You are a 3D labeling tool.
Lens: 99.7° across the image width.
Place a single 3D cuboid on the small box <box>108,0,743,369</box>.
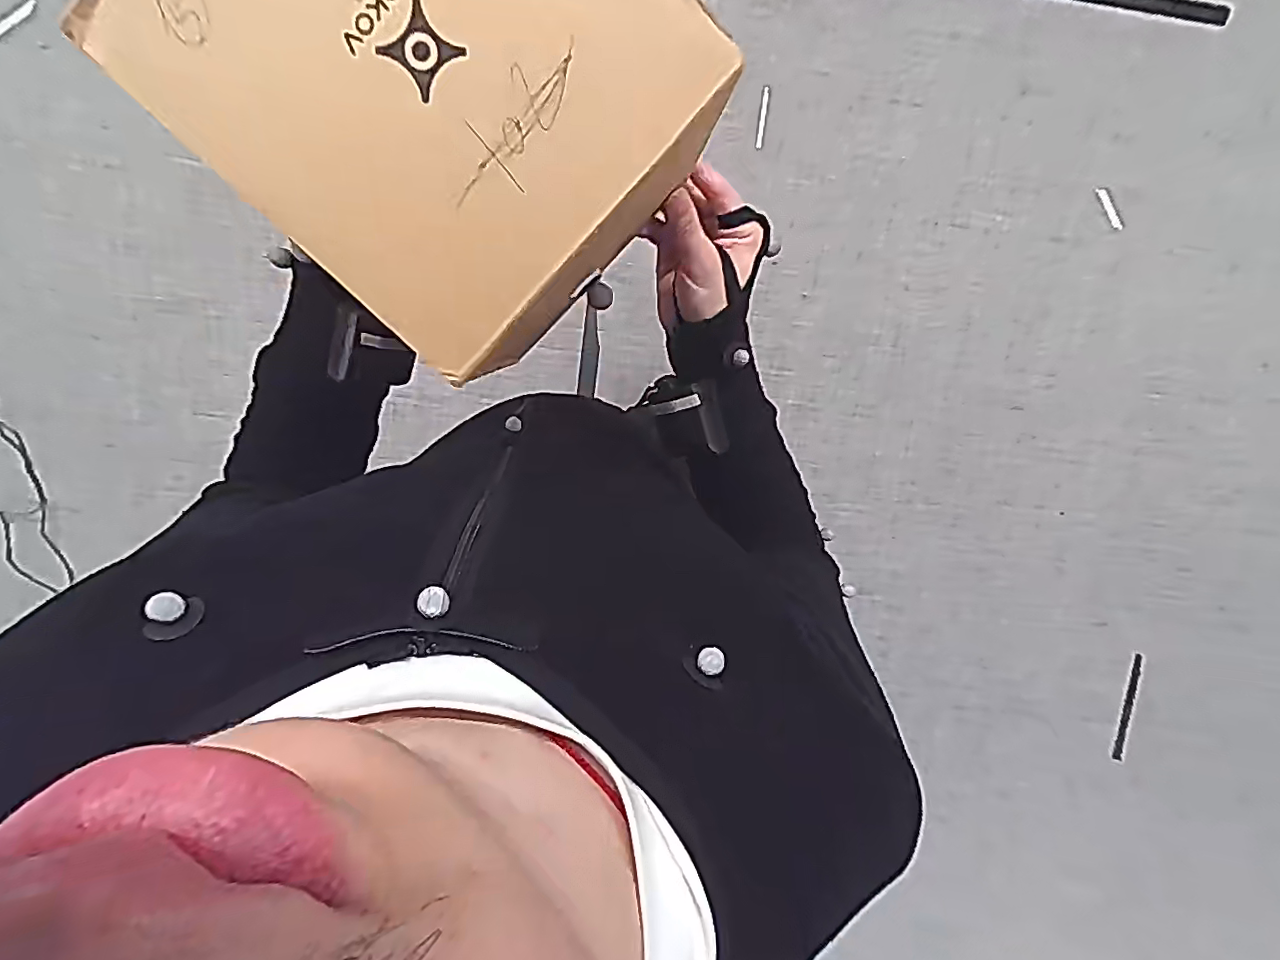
[{"bbox_3d":[-0.080,-0.179,0.278,0.179,0.176,0.168,42,101,-14],"label":"small box"}]
